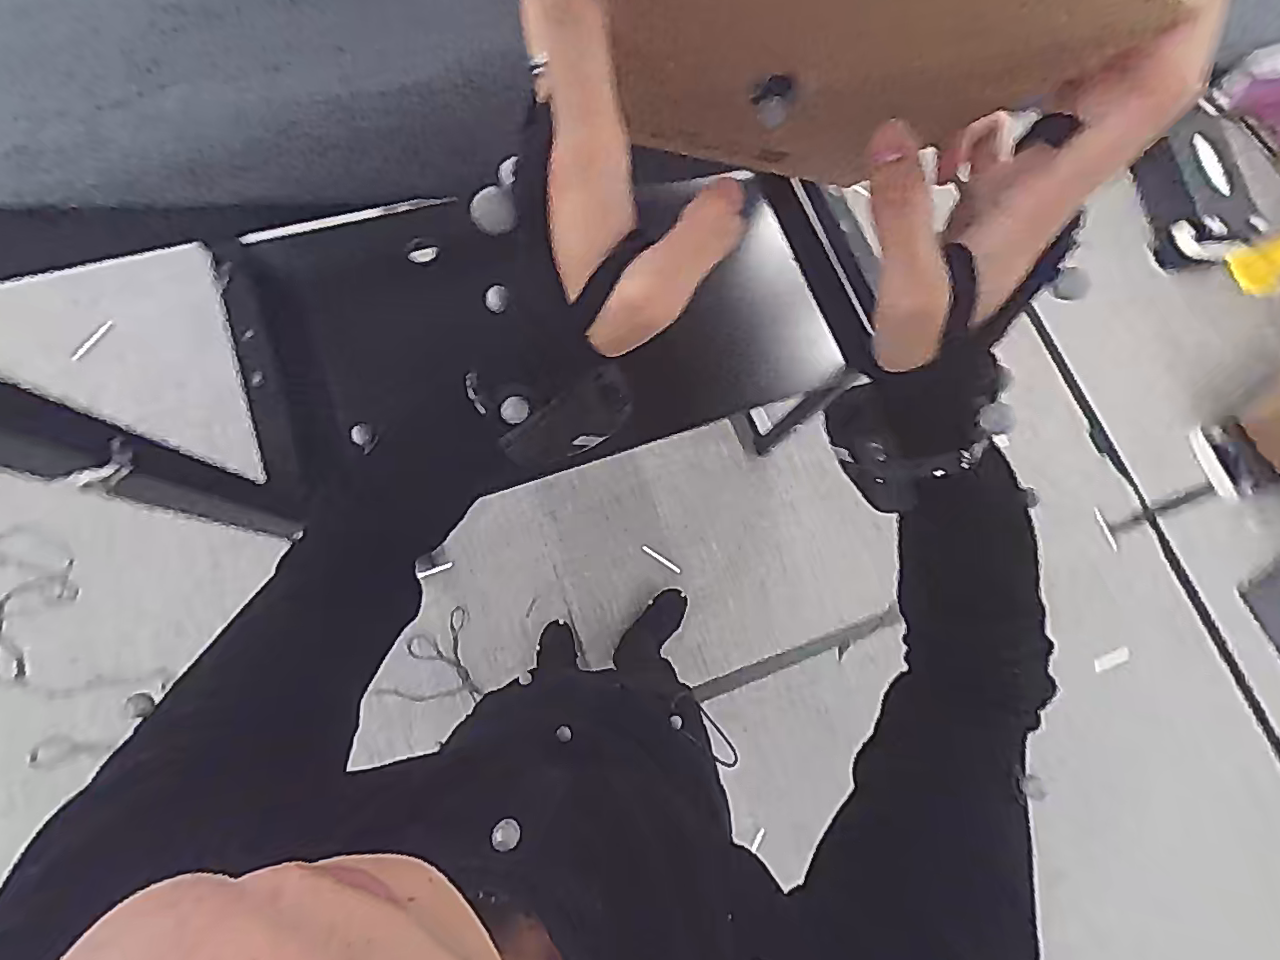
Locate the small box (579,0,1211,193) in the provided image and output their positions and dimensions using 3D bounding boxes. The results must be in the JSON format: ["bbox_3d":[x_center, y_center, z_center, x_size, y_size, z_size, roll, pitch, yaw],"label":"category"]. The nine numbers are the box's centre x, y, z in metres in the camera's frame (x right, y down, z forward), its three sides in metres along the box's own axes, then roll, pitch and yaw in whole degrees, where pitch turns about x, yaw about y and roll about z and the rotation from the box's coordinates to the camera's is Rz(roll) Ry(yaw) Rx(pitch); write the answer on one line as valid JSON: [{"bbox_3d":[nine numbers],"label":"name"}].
[{"bbox_3d":[0.072,-0.230,0.197,0.168,0.176,0.179,4,101,-14],"label":"small box"}]
